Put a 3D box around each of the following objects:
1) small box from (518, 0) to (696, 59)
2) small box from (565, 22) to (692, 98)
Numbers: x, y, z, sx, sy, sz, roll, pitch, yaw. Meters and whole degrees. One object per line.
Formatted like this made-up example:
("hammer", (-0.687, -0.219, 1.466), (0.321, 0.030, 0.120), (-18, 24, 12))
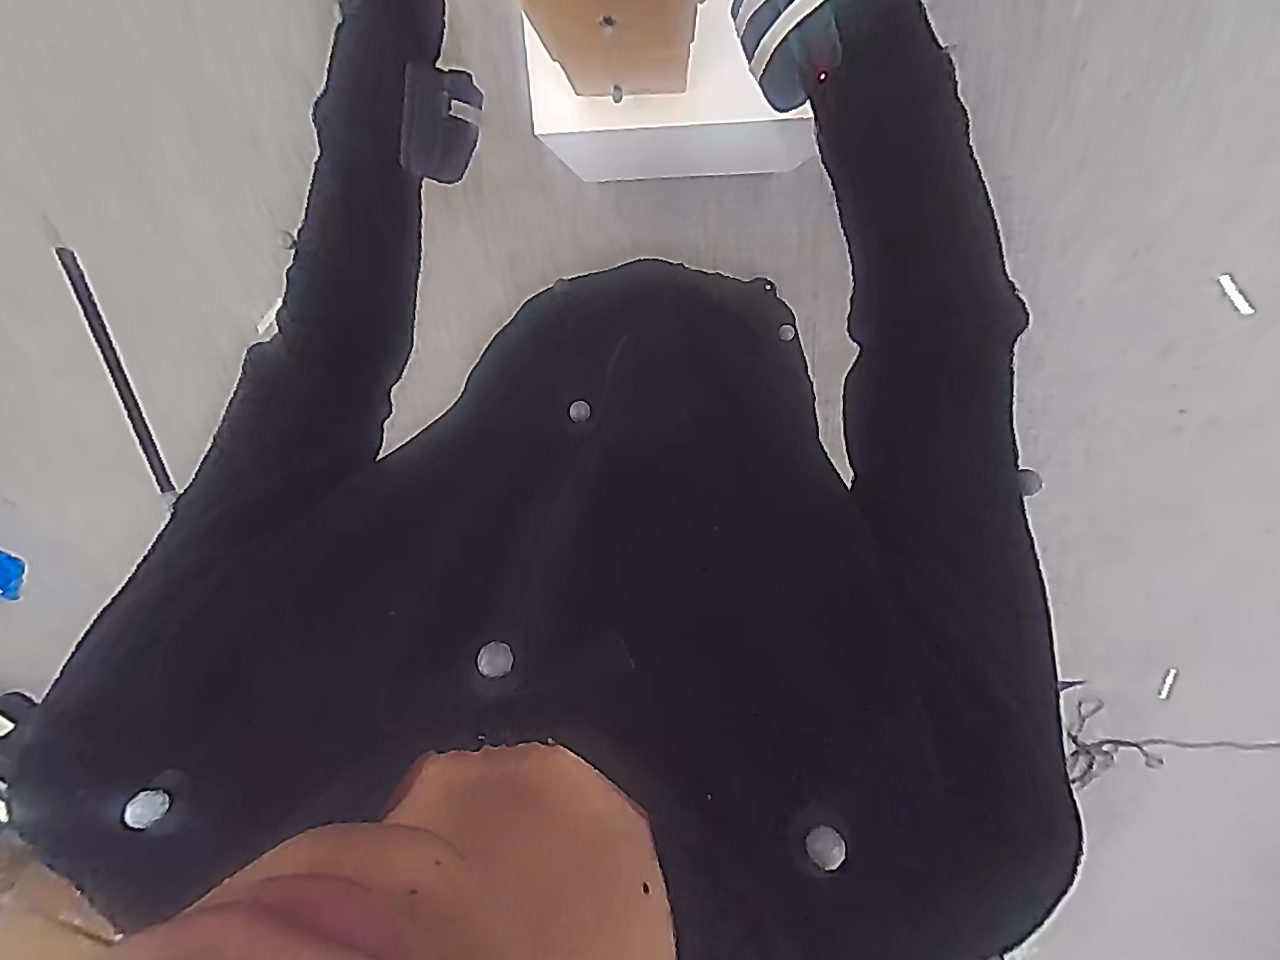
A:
("small box", (-0.032, -0.558, 0.543), (0.179, 0.176, 0.168), (-4, 111, 6))
("small box", (-0.018, -0.620, 0.695), (0.168, 0.176, 0.179), (0, 112, 3))
